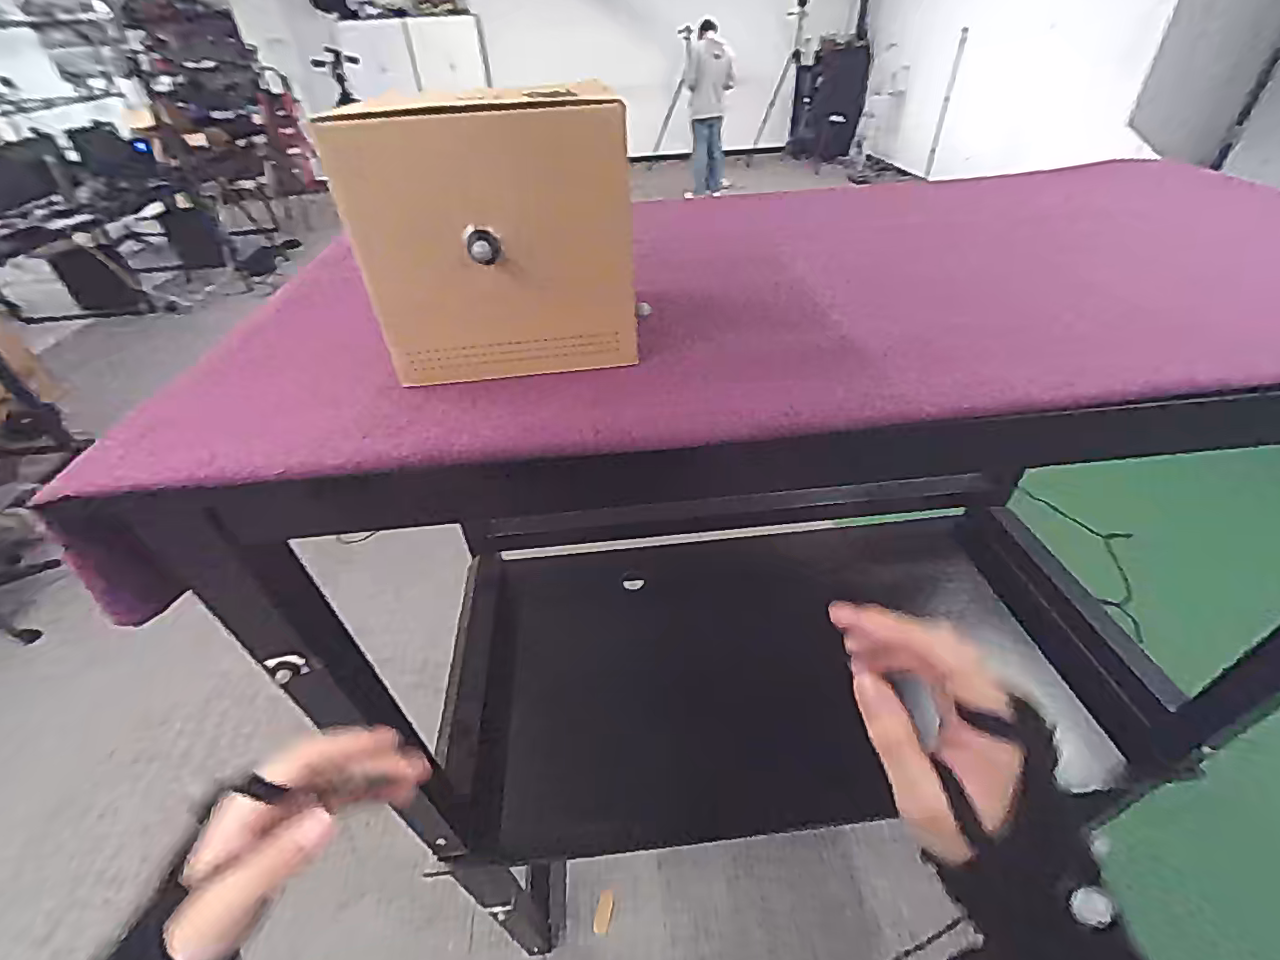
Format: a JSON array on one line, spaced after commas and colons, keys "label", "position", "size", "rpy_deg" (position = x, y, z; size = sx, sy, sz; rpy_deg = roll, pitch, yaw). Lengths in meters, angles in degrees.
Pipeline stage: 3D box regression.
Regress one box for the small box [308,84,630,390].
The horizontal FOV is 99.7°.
[{"label": "small box", "position": [-0.102, -0.186, 0.412], "size": [0.179, 0.176, 0.168], "rpy_deg": [-8, 39, -4]}]
